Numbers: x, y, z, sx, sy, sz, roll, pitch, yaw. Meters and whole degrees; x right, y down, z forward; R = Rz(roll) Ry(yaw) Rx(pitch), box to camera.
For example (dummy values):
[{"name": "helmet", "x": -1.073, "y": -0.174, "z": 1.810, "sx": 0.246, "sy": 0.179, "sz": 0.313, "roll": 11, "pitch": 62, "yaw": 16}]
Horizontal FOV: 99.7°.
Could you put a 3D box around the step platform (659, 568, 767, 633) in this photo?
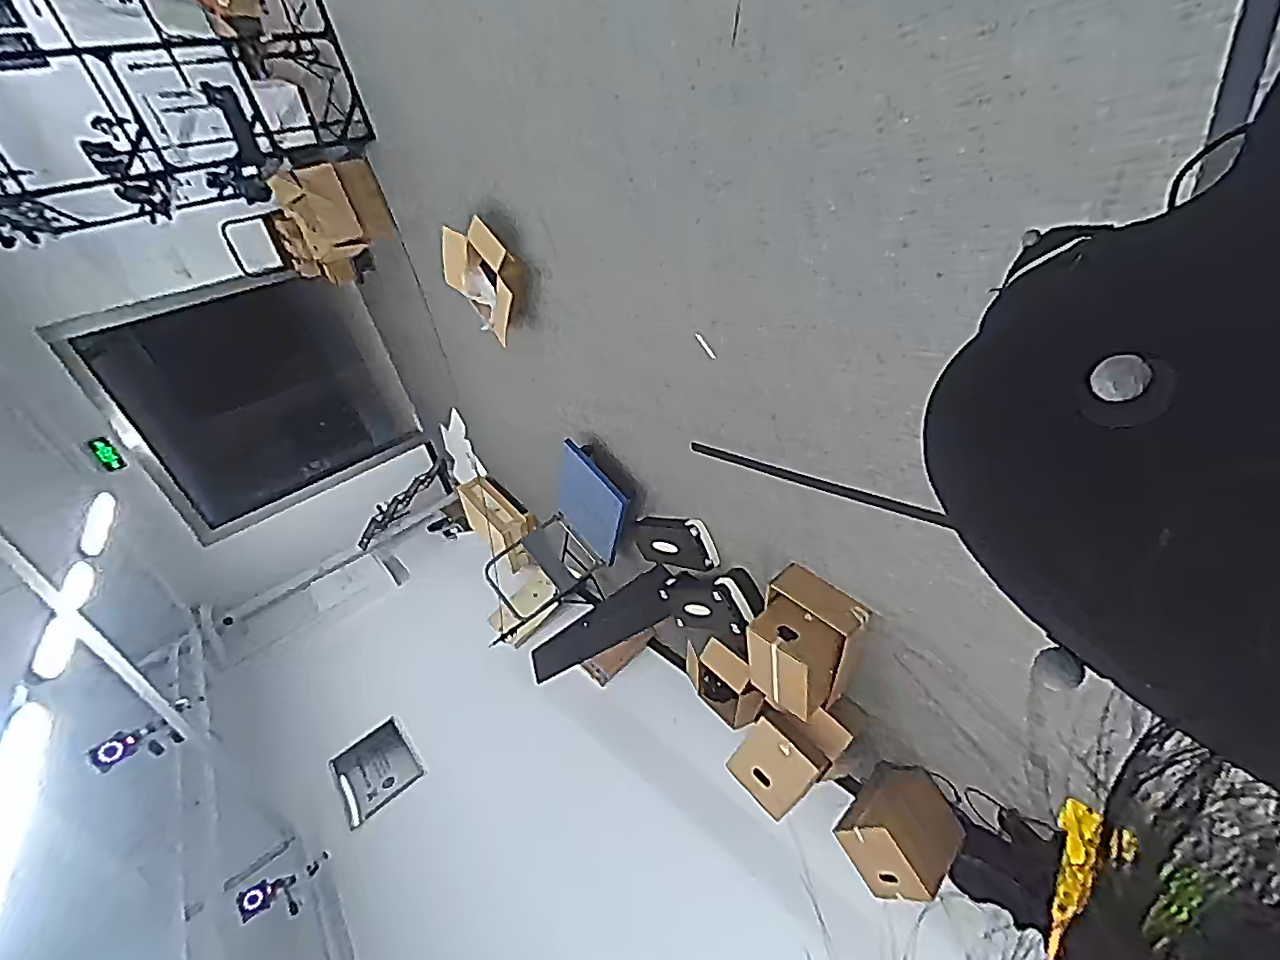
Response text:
[{"name": "step platform", "x": 0.382, "y": 0.675, "z": 3.025, "sx": 0.286, "sy": 0.204, "sz": 0.684, "roll": 60, "pitch": 150, "yaw": -5}]
